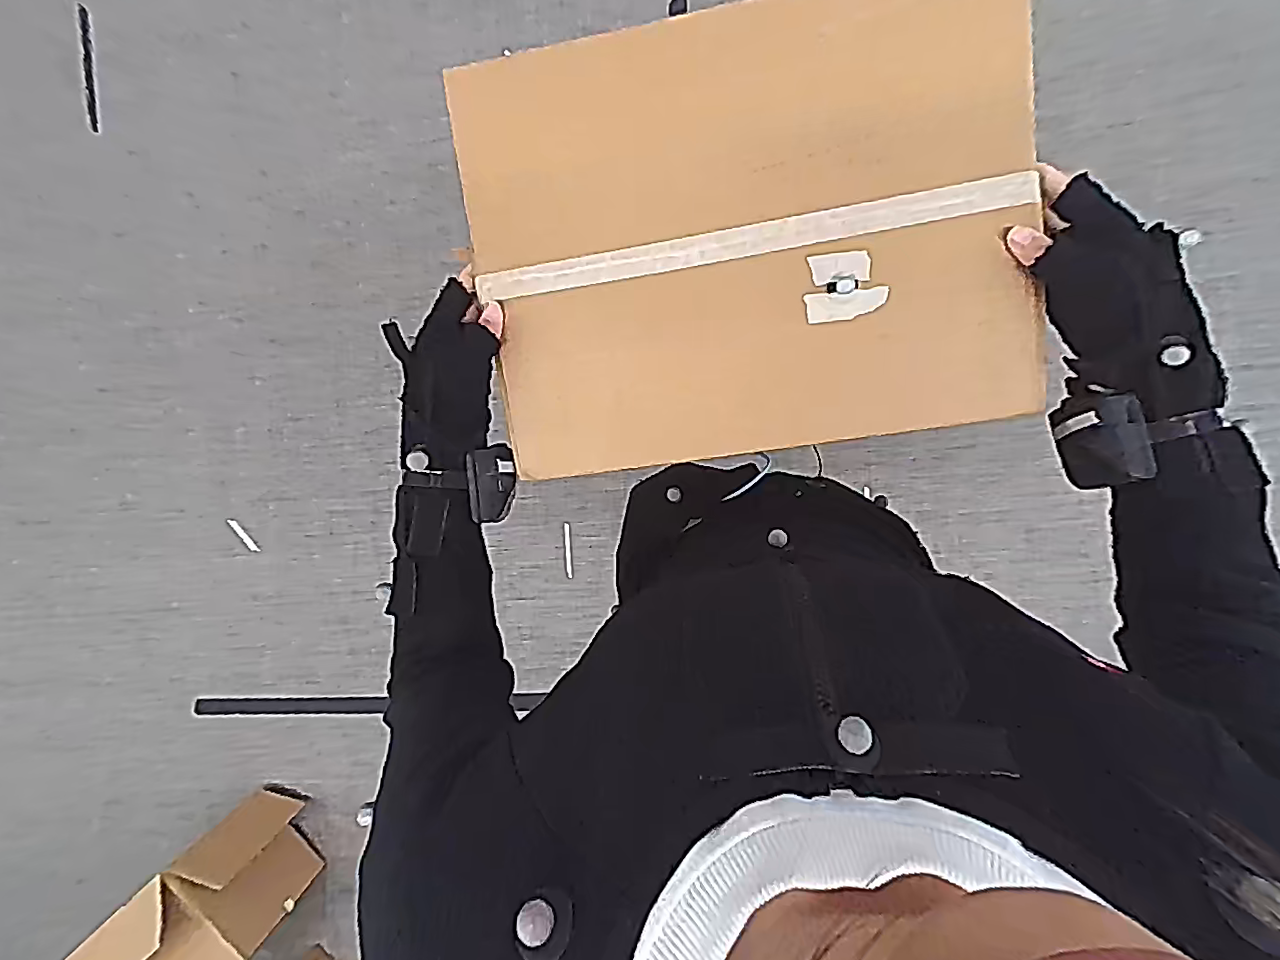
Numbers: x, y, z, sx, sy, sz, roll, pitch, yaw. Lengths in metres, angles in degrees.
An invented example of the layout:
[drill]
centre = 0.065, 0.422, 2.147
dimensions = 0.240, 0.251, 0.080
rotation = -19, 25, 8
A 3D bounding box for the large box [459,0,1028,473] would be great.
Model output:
[large box]
centre = 0.089, -0.206, 0.559
dimensions = 0.408, 0.320, 0.320
rotation = -8, 99, 6
